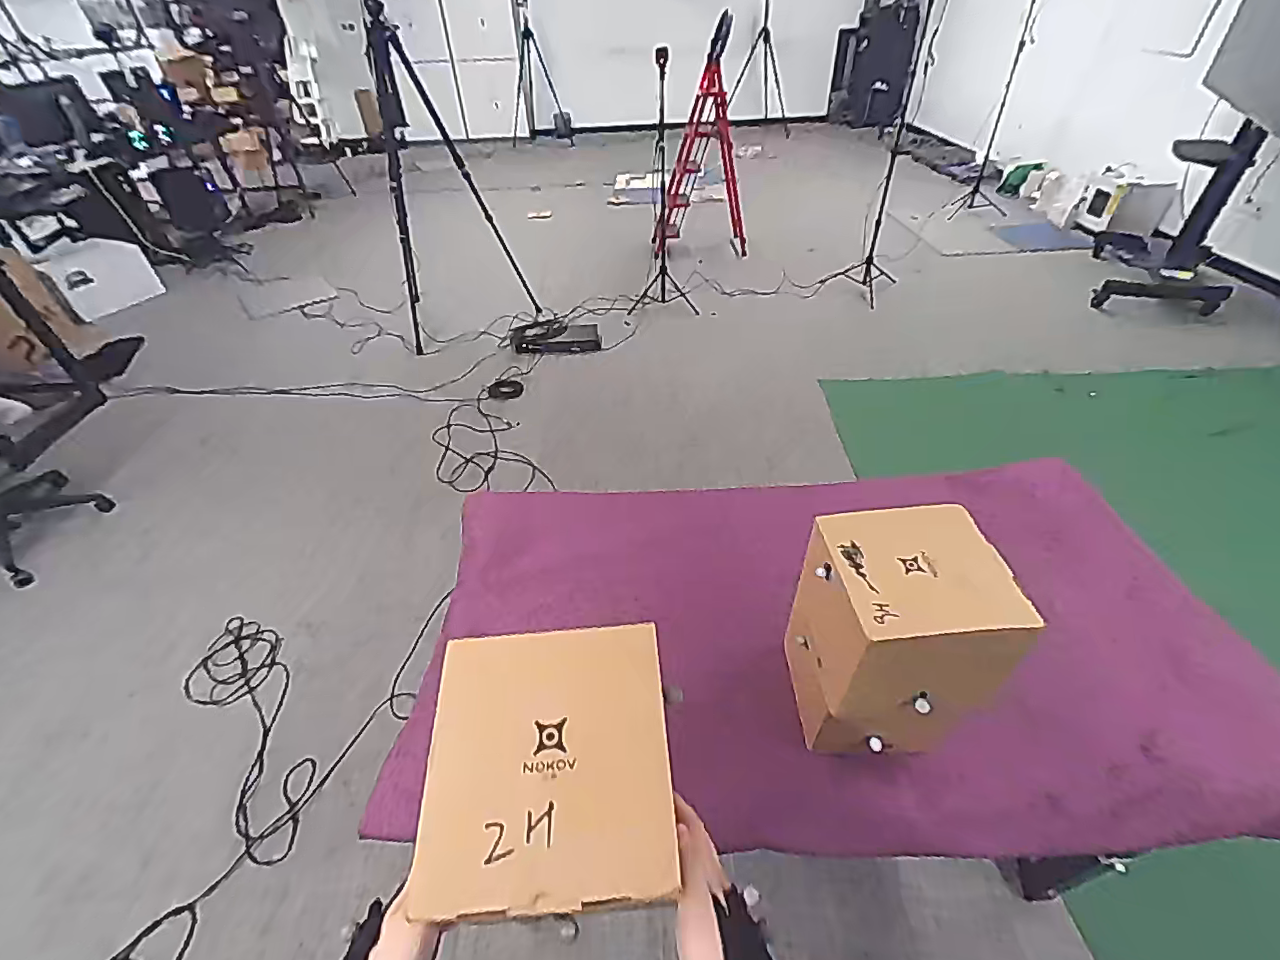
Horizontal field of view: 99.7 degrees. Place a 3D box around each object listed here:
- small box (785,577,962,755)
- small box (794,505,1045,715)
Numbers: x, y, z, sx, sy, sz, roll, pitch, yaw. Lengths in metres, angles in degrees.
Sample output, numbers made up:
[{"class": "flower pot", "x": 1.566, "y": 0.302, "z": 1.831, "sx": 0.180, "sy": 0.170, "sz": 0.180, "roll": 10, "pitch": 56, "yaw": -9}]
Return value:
[{"class": "small box", "x": 0.305, "y": 0.252, "z": 0.742, "sx": 0.168, "sy": 0.176, "sz": 0.179, "roll": -2, "pitch": 41, "yaw": 1}, {"class": "small box", "x": 0.292, "y": 0.148, "z": 0.613, "sx": 0.179, "sy": 0.176, "sz": 0.168, "roll": -3, "pitch": 41, "yaw": -1}]
